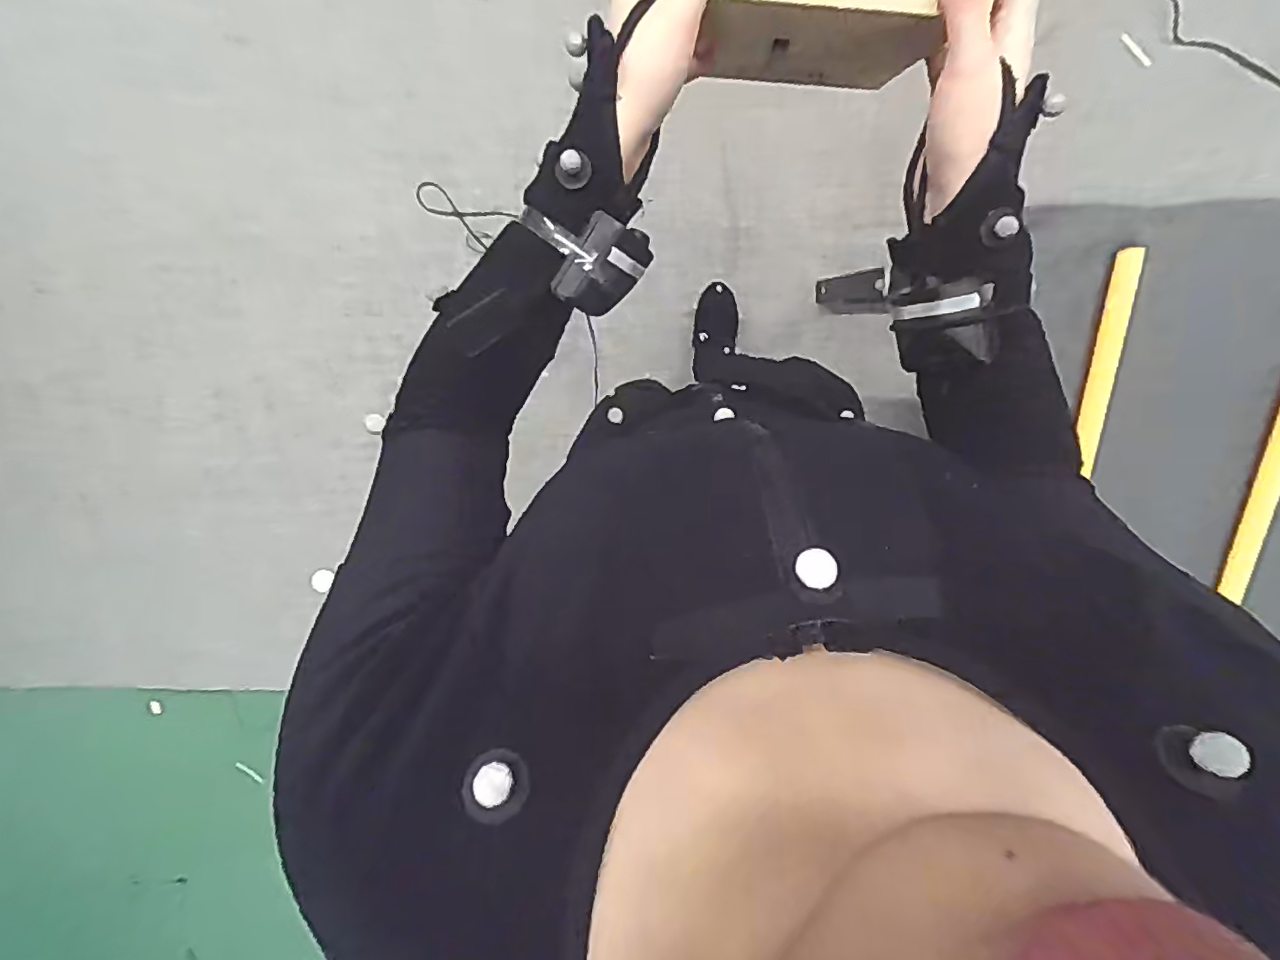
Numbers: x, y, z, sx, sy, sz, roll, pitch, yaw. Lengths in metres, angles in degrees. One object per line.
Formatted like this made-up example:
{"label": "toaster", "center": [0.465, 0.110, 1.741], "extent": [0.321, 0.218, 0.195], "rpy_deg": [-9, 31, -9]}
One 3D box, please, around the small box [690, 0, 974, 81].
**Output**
{"label": "small box", "center": [0.122, -0.387, 0.350], "extent": [0.168, 0.176, 0.179], "rpy_deg": [4, 112, 1]}
